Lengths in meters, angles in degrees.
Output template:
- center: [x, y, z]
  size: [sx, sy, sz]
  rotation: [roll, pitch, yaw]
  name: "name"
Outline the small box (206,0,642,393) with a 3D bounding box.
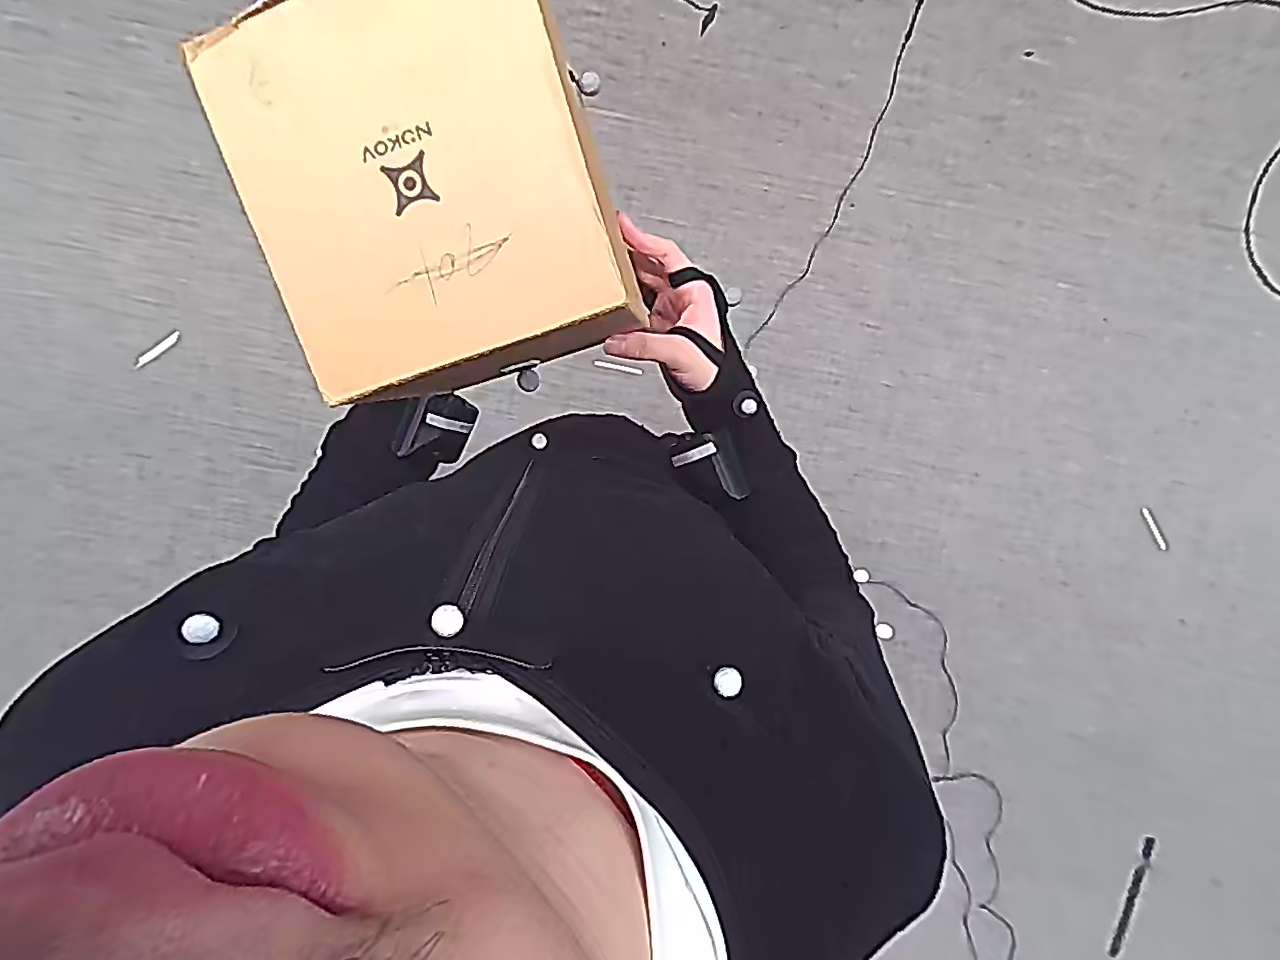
- center: [-0.102, -0.163, 0.343]
  size: [0.168, 0.176, 0.179]
  rotation: [-16, 101, 8]
  name: "small box"
